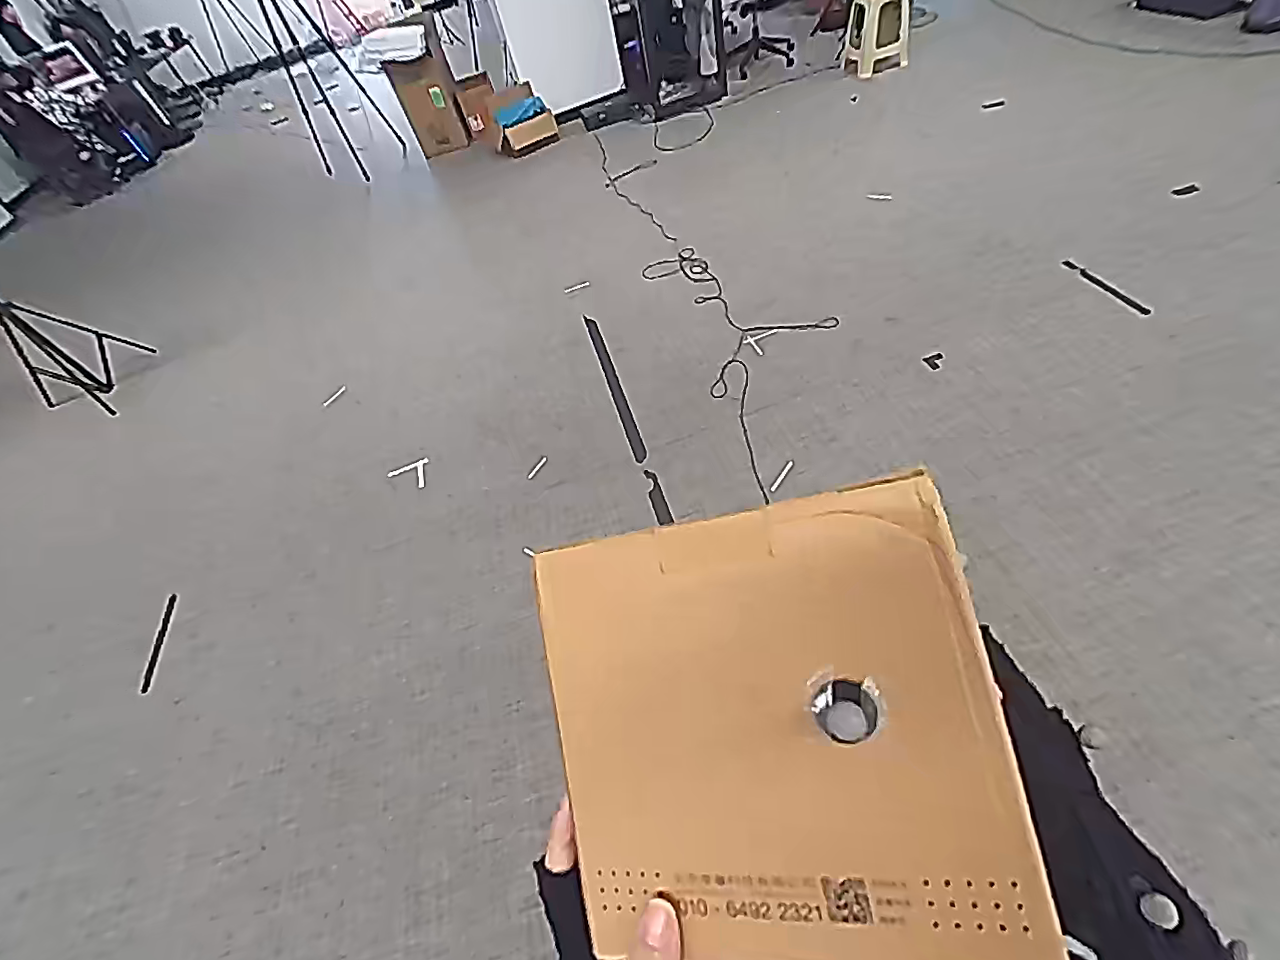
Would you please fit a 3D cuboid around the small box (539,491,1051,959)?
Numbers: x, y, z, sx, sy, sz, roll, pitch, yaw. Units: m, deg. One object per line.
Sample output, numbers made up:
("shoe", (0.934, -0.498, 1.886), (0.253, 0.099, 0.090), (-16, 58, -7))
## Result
("small box", (0.075, 0.108, 0.281), (0.168, 0.179, 0.176), (-14, 82, 20))
